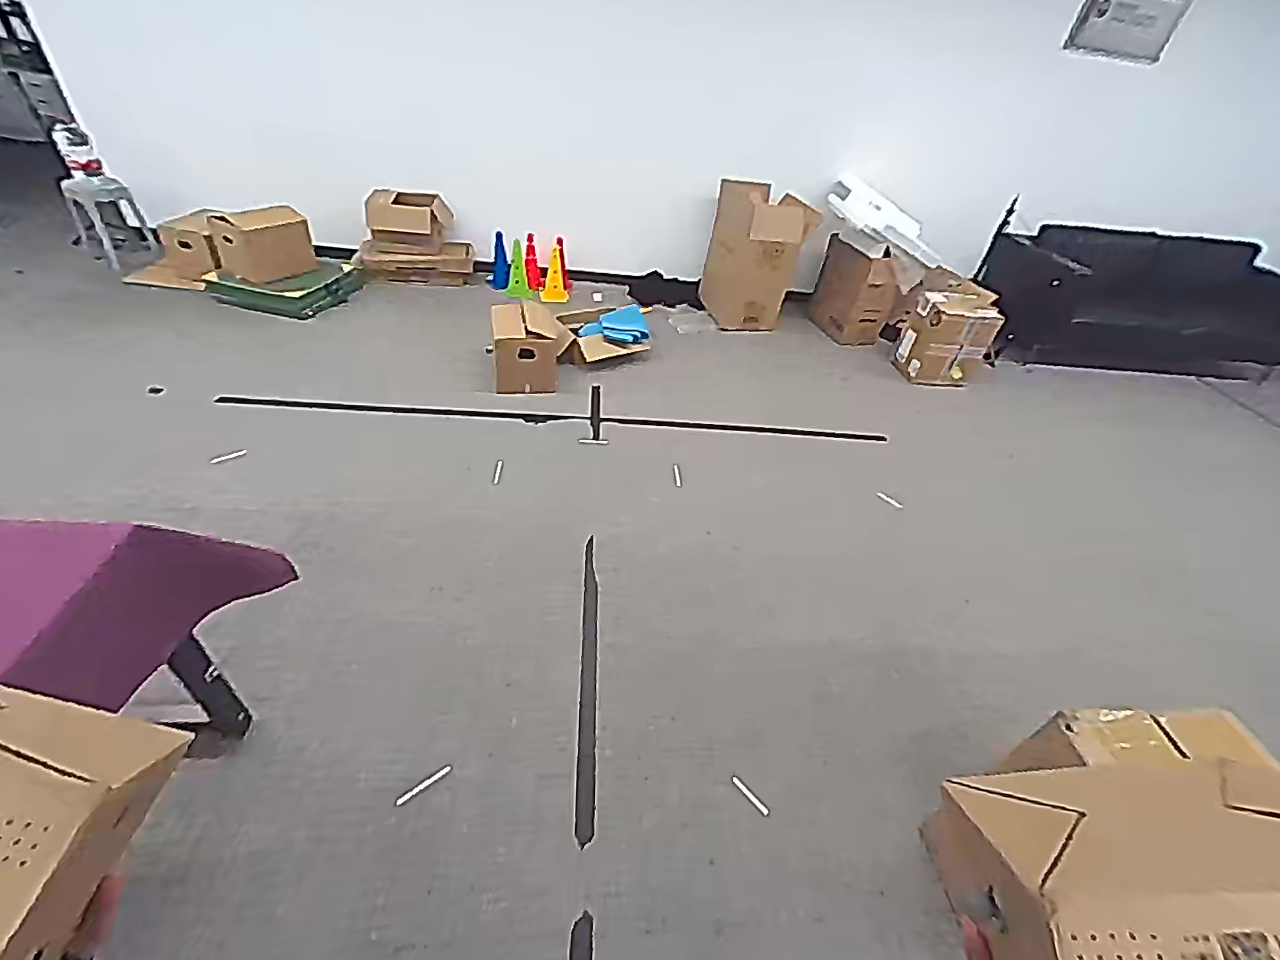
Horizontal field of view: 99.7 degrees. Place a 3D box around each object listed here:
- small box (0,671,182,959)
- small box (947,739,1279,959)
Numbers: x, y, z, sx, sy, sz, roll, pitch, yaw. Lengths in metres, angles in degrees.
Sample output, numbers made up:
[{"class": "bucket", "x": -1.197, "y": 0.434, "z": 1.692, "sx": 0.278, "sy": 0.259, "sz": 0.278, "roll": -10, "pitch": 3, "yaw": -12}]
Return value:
[{"class": "small box", "x": -0.369, "y": 0.187, "z": 0.258, "sx": 0.179, "sy": 0.168, "sz": 0.176, "roll": 27, "pitch": 63, "yaw": -19}, {"class": "small box", "x": 0.264, "y": 0.229, "z": 0.246, "sx": 0.168, "sy": 0.179, "sz": 0.176, "roll": -15, "pitch": 73, "yaw": 14}]
